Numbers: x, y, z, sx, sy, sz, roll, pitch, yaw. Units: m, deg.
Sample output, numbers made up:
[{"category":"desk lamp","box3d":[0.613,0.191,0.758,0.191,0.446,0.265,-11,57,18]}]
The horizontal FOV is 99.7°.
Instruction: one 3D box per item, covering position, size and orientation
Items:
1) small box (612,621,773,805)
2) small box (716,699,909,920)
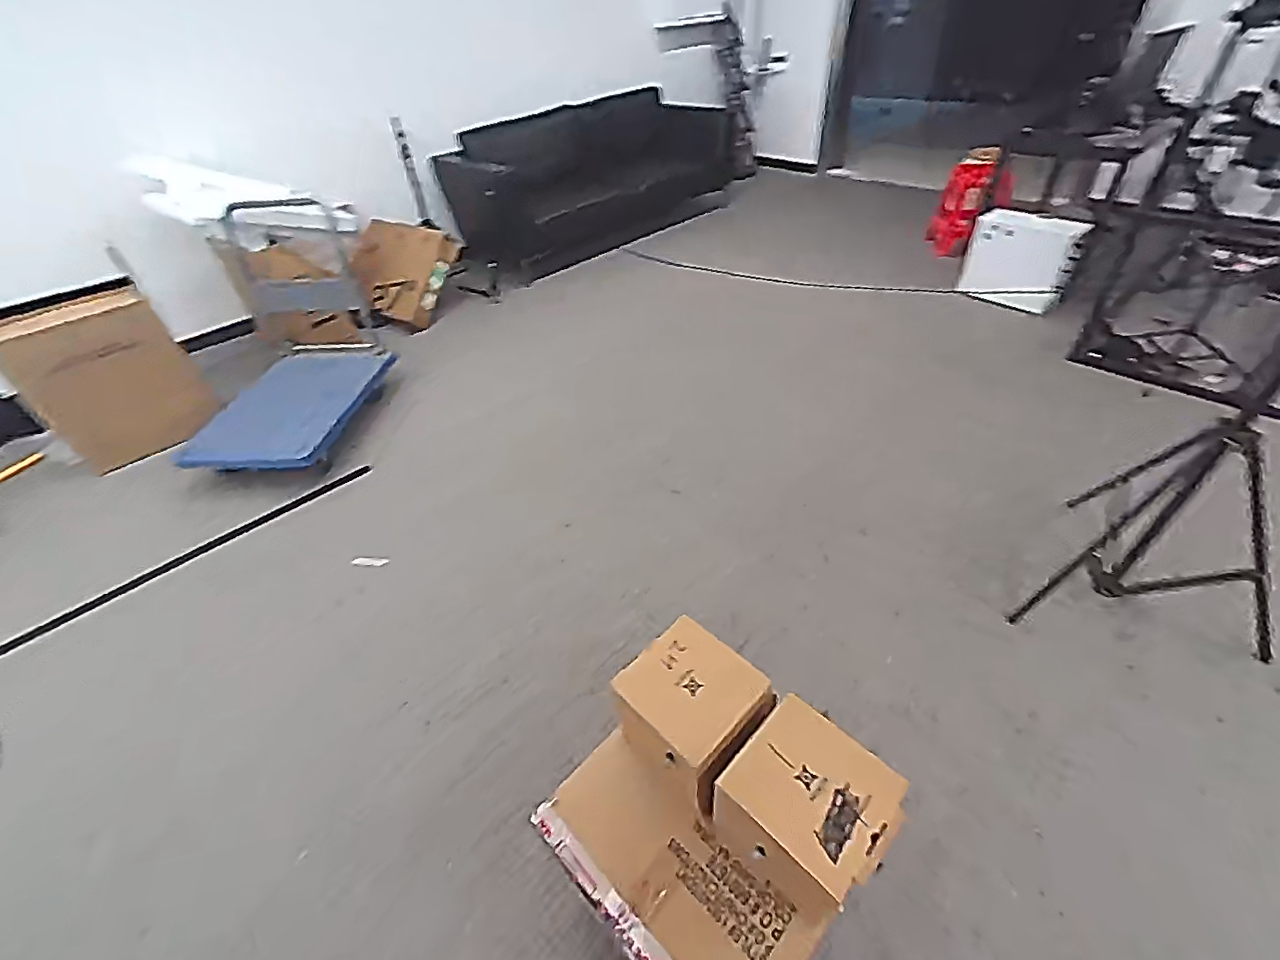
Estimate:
[{"category":"small box","box3d":[0.083,0.361,0.830,0.168,0.176,0.179,-35,46,-28]},{"category":"small box","box3d":[0.220,0.441,0.723,0.168,0.176,0.179,-36,50,-28]}]
